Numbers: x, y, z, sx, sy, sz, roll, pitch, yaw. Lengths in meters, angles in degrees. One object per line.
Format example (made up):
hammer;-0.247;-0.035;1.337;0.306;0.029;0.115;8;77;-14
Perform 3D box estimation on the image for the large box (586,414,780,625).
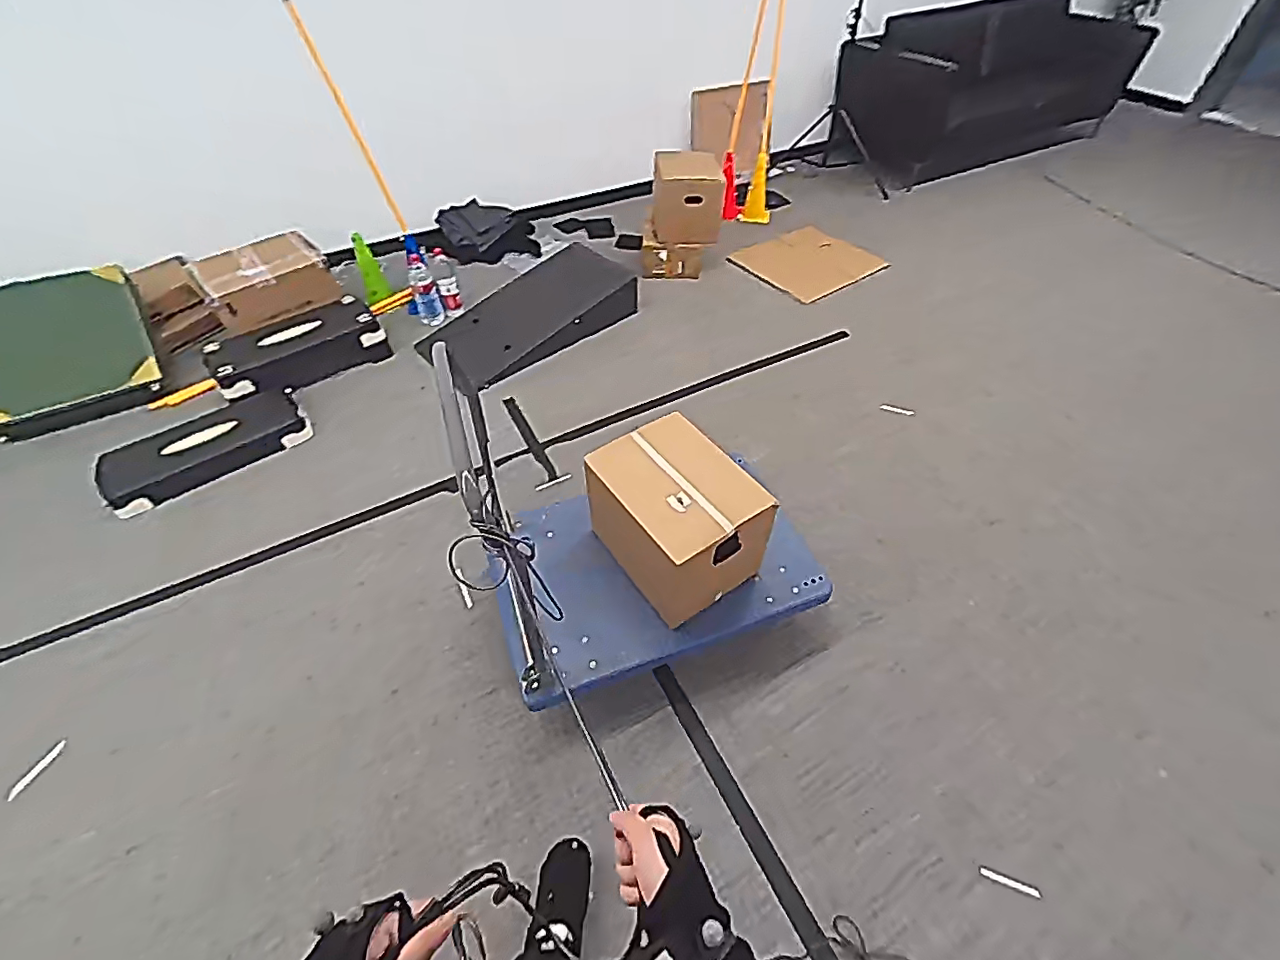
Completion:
large box;0.094;0.098;1.445;0.320;0.320;0.408;-29;56;-22
